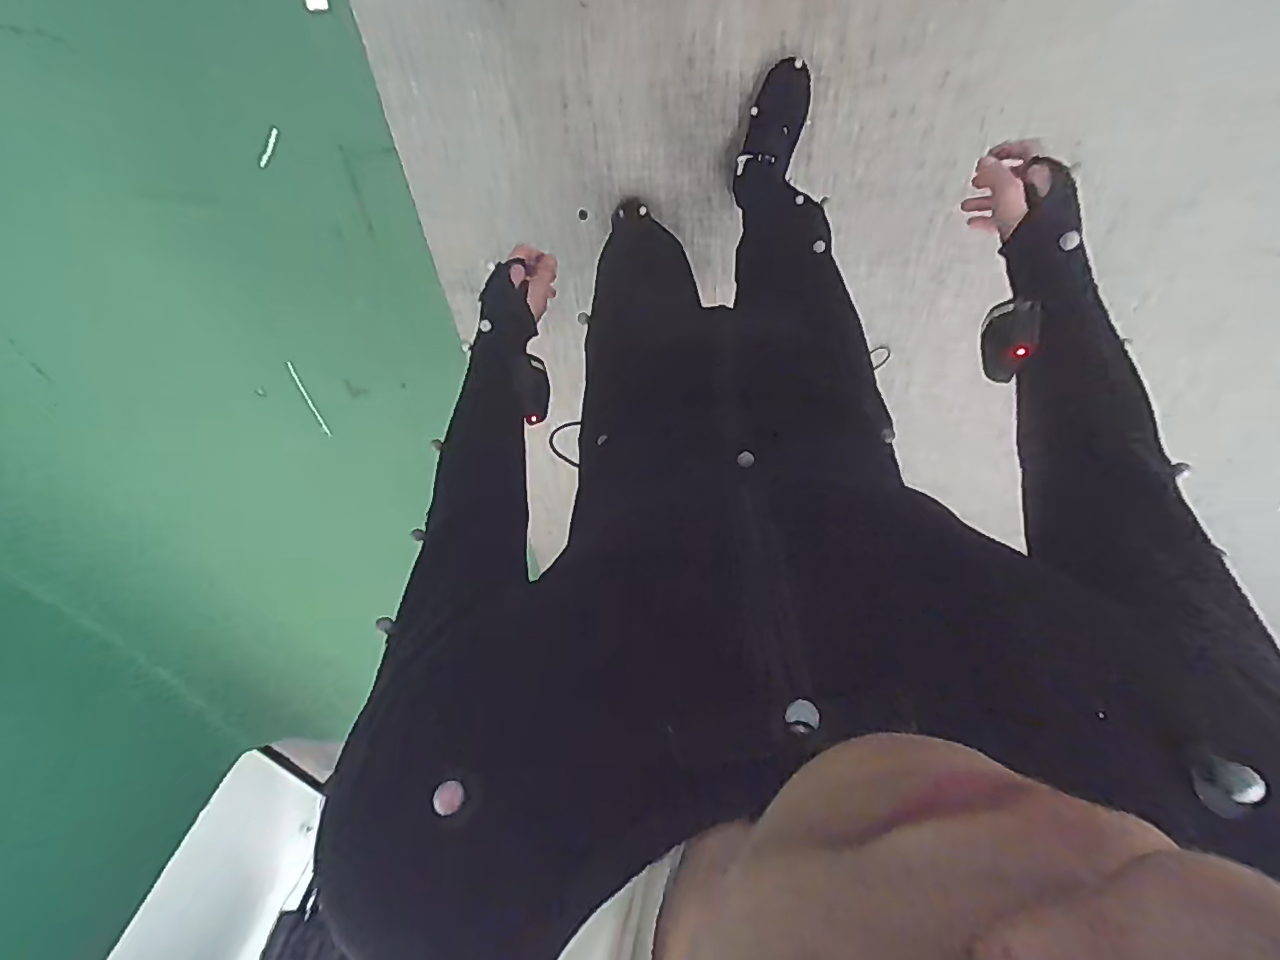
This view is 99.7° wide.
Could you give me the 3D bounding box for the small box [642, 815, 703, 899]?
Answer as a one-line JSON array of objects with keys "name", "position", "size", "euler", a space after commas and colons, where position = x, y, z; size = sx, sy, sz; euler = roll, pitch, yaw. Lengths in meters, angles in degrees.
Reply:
[{"name": "small box", "position": [0.102, 1.142, 1.640], "size": [0.168, 0.176, 0.179], "euler": [2, 133, 10]}]
